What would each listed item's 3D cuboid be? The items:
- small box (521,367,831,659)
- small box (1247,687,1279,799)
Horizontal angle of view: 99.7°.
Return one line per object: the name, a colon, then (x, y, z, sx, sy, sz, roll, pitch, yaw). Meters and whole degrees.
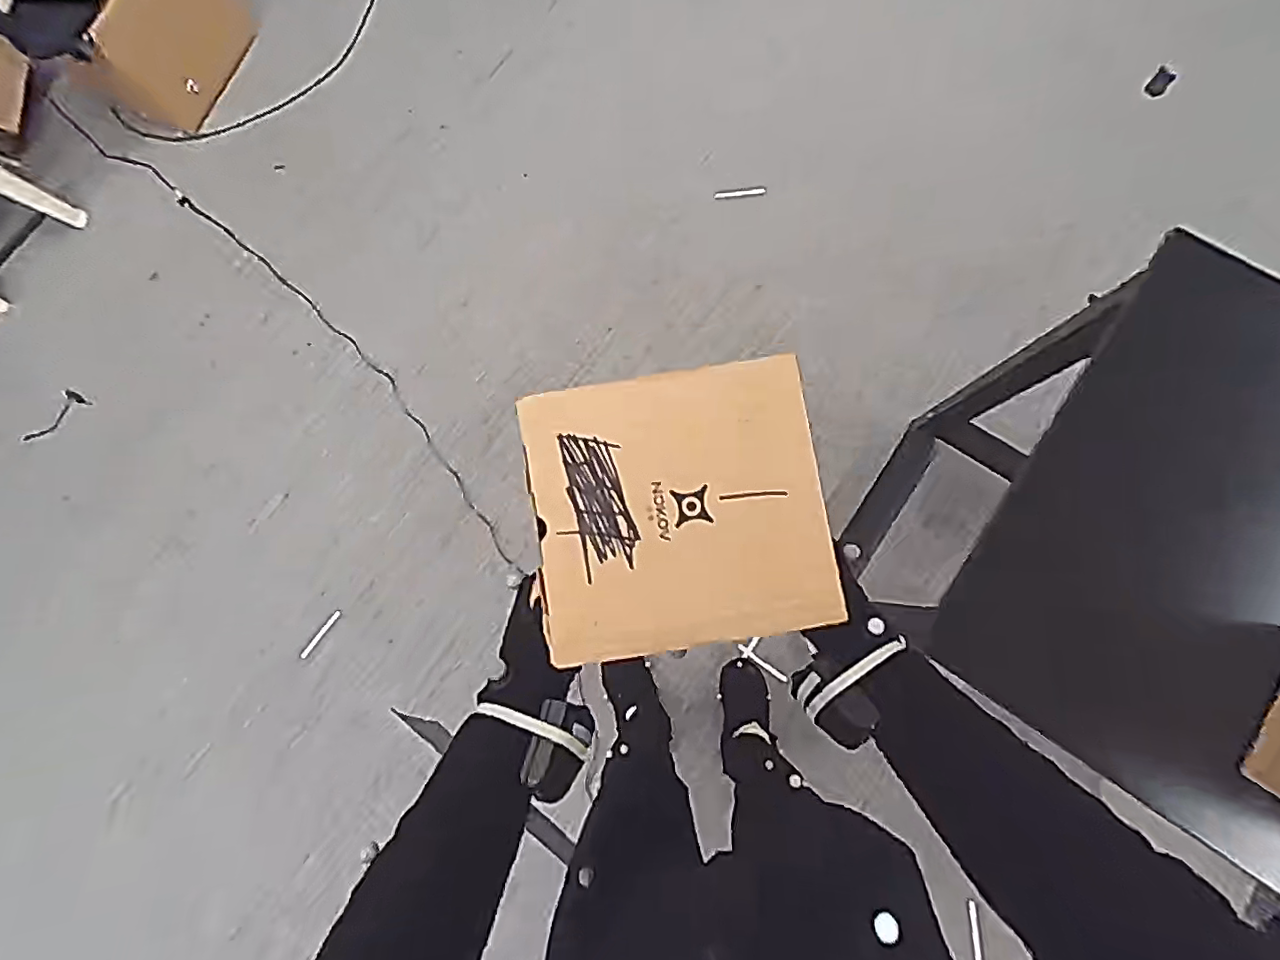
small box: (0.022, 0.029, 0.418, 0.179, 0.176, 0.168, -9, 83, 0)
small box: (0.710, 0.258, 0.467, 0.168, 0.176, 0.179, 34, 82, 8)
